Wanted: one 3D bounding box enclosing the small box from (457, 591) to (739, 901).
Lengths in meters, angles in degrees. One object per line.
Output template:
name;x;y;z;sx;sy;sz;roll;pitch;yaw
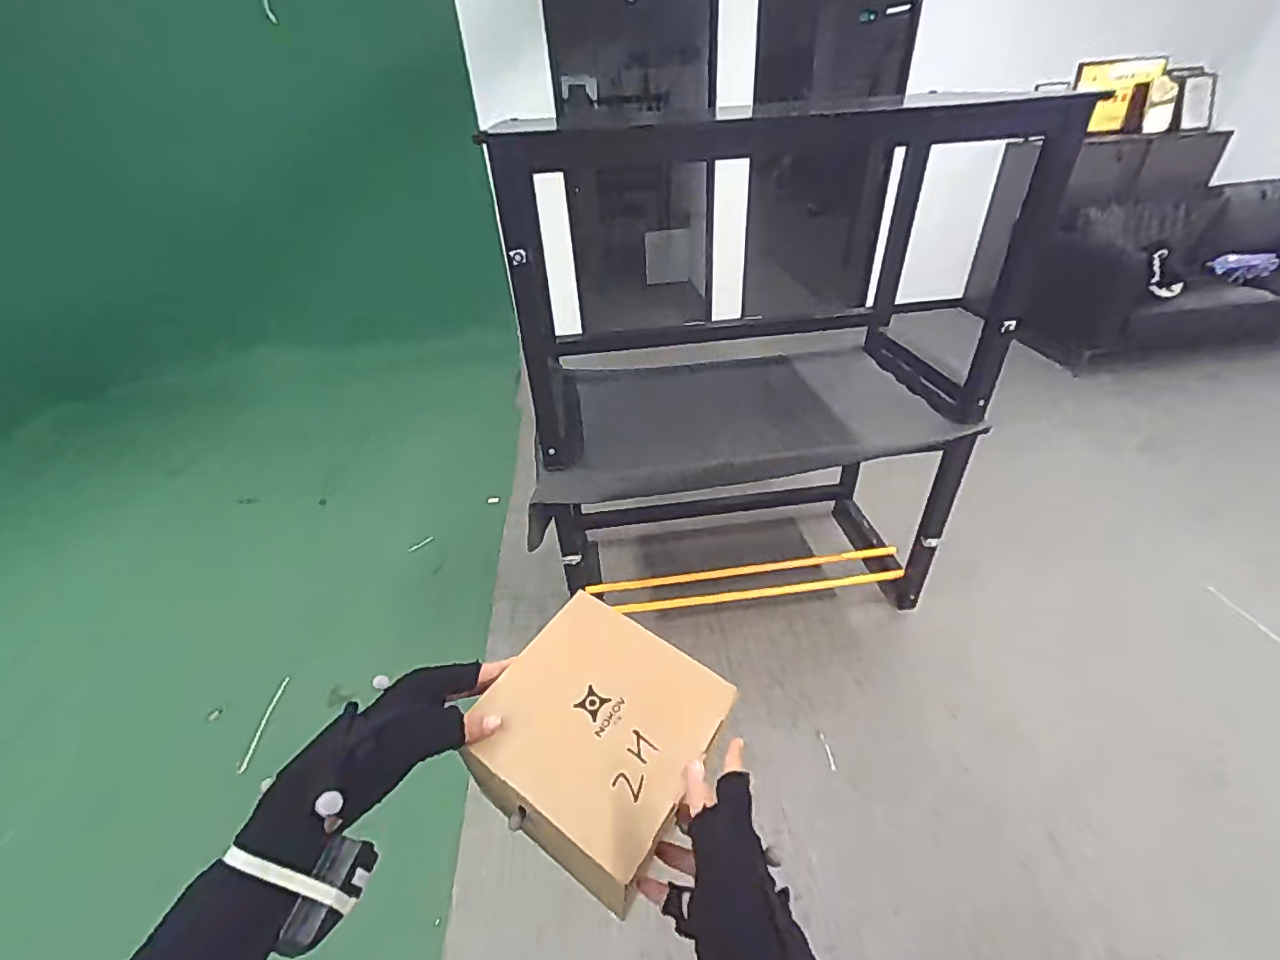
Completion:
small box;-0.035;0.244;0.499;0.179;0.176;0.168;27;50;22
